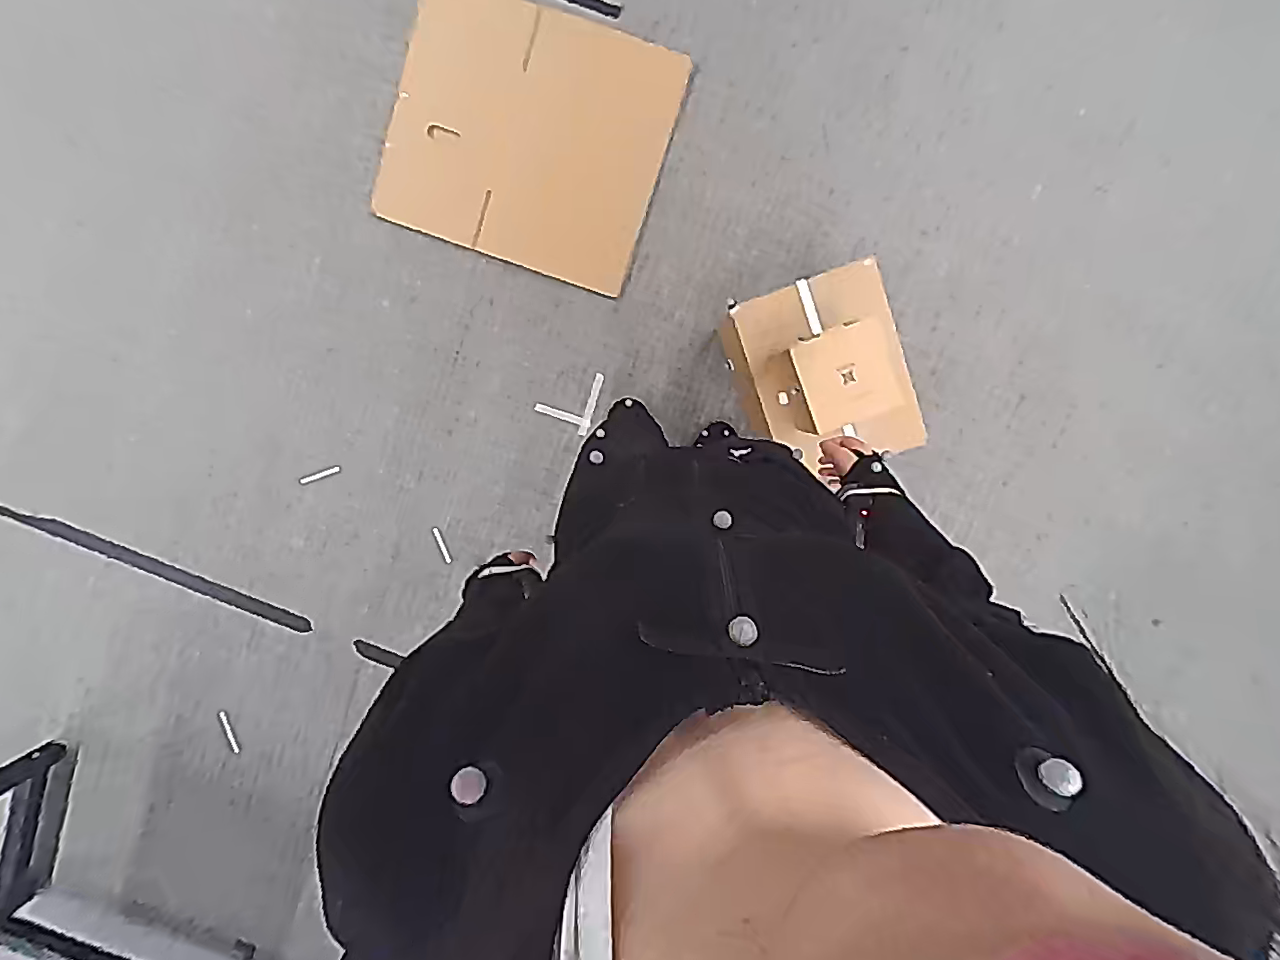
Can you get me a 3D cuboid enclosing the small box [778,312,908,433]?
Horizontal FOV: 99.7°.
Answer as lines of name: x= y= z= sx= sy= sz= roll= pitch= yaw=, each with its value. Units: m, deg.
small box: x=0.382 y=-0.201 z=1.050 sx=0.168 sy=0.176 sz=0.179 roll=-21 pitch=97 yaw=7
